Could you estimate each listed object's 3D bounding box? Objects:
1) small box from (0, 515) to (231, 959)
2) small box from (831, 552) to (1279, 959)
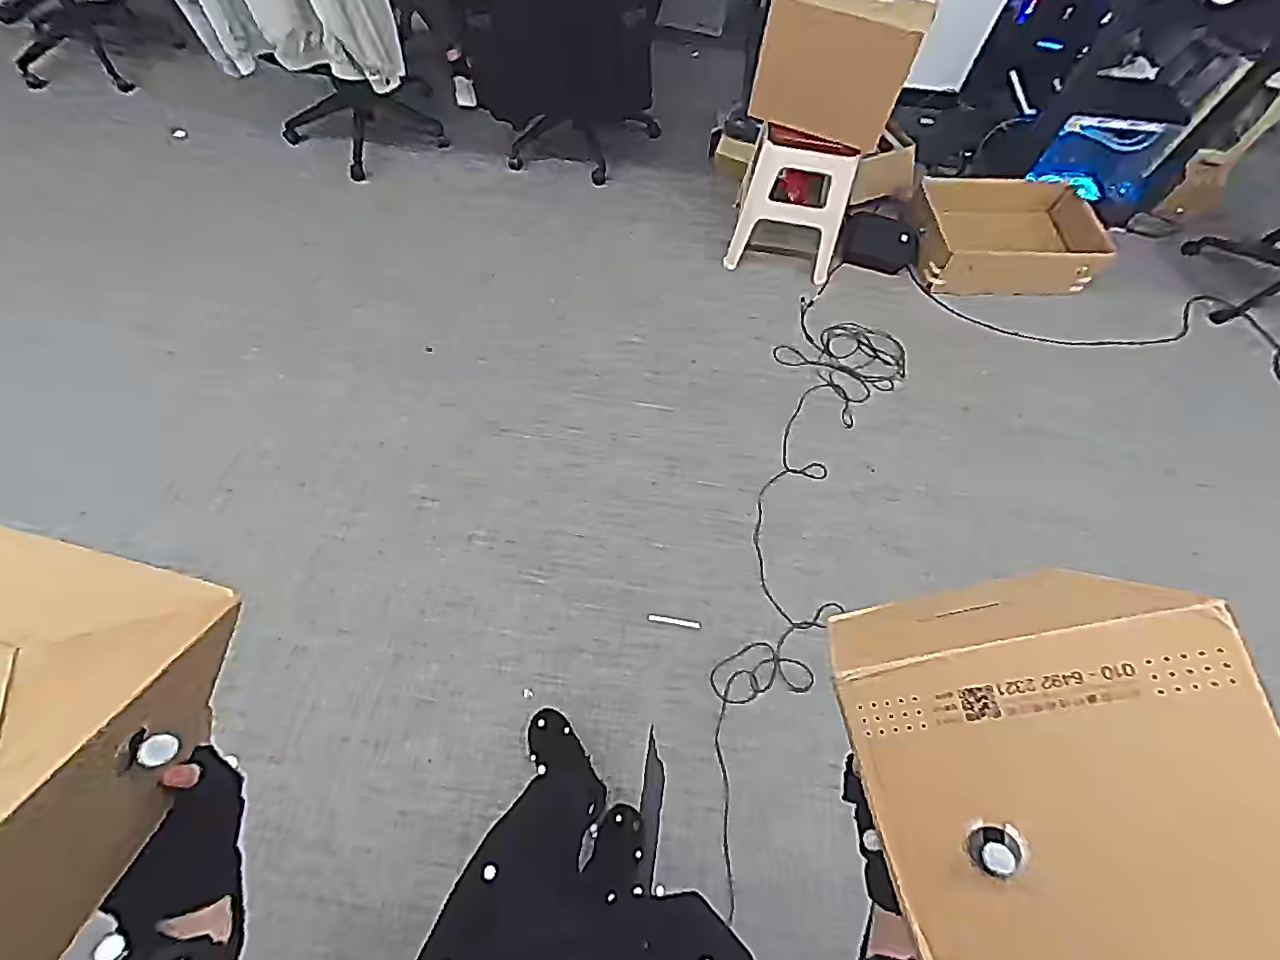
[{"bbox_3d":[-0.326,0.124,0.233,0.168,0.179,0.176,22,98,-17],"label":"small box"},{"bbox_3d":[0.217,0.144,0.313,0.168,0.179,0.176,-17,81,17],"label":"small box"}]
